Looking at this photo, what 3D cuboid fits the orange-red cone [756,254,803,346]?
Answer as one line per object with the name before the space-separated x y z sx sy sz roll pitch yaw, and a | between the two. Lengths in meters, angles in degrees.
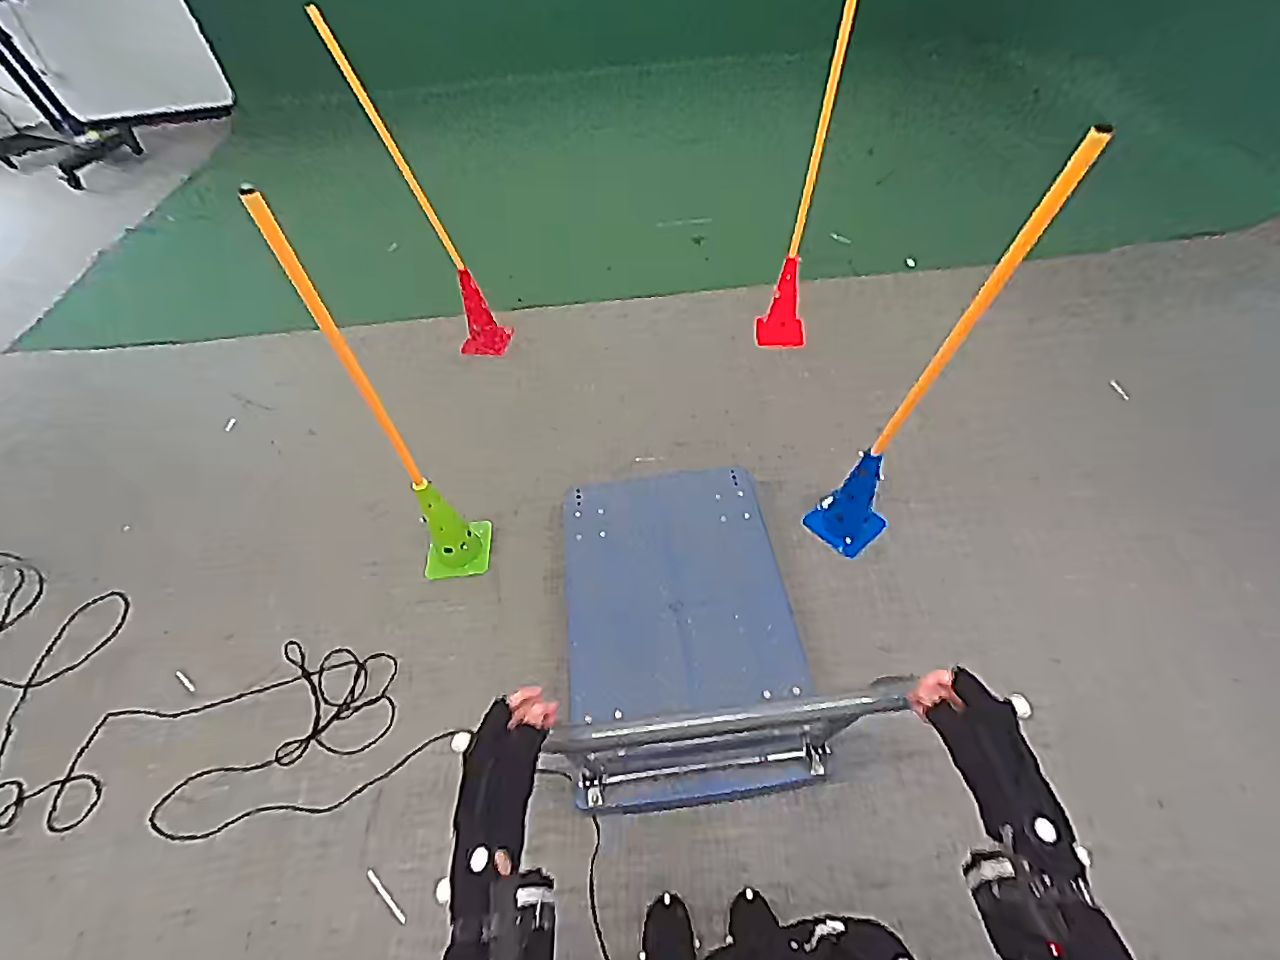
orange-red cone | 0.589 -0.747 2.204 0.198 0.360 0.199 3 54 8
